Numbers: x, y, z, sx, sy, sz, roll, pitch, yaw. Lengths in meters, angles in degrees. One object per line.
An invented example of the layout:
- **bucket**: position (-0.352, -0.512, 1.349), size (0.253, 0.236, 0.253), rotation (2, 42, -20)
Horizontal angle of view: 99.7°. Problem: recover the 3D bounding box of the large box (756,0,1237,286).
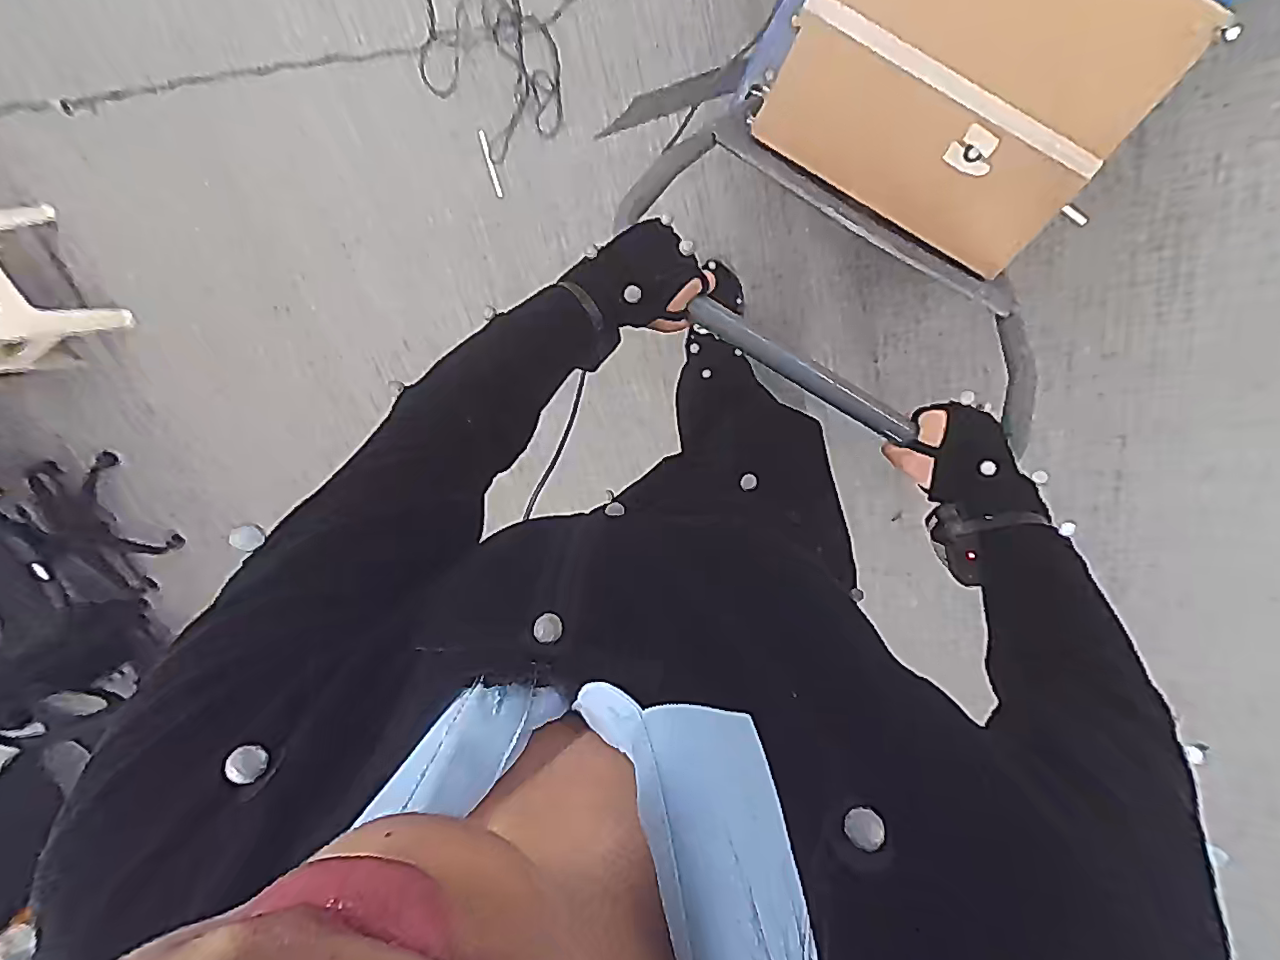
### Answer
- **large box**: position (0.432, -0.550, 0.762), size (0.408, 0.320, 0.320), rotation (30, 133, -2)
